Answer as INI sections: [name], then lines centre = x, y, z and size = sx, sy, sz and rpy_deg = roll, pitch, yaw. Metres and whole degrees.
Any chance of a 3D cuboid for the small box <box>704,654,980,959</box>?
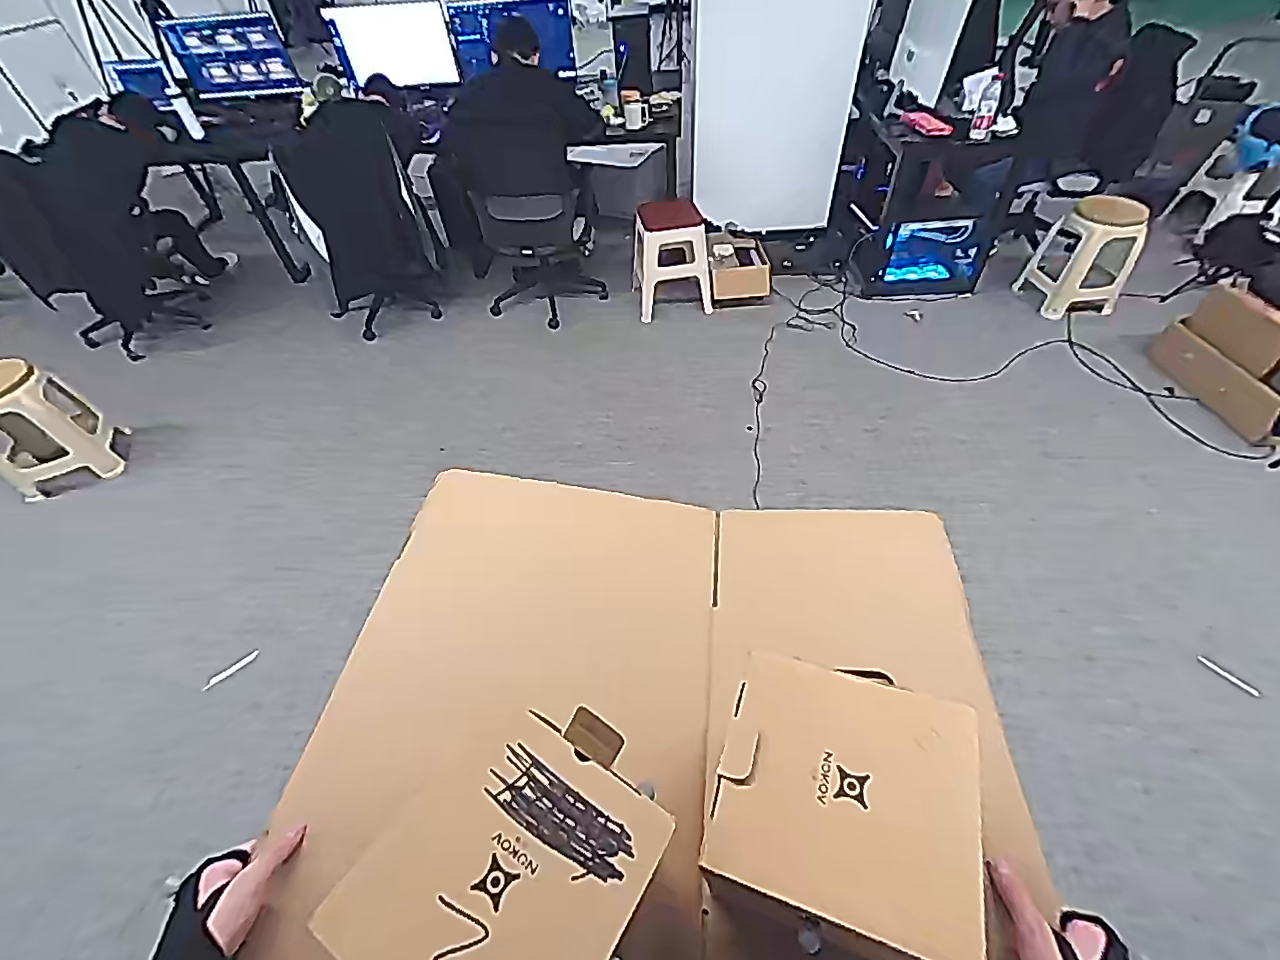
[small box]
centre = 0.165, 0.278, 0.461
size = 0.179, 0.176, 0.168
rpy_deg = 9, 51, 20
